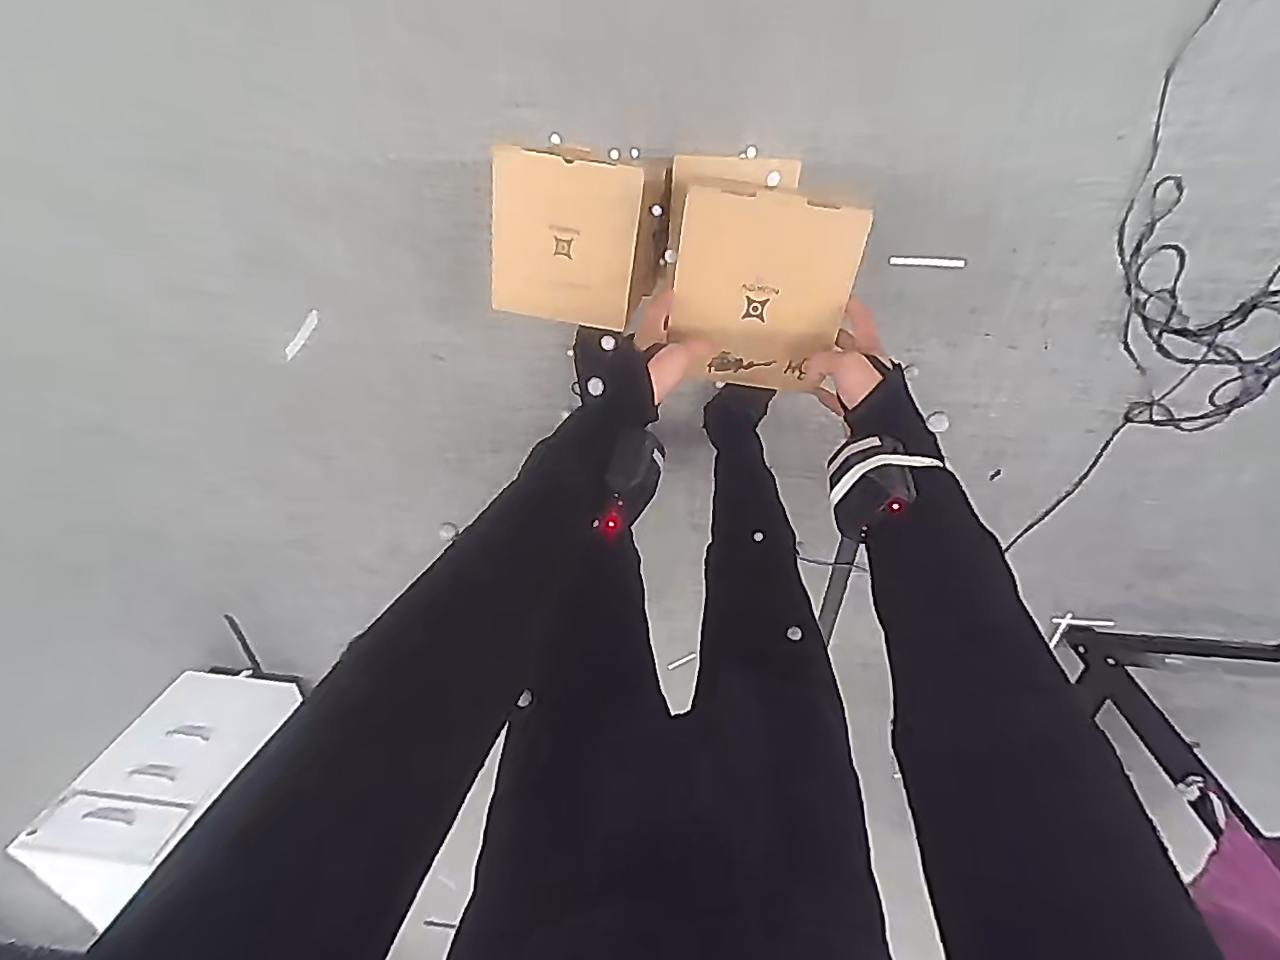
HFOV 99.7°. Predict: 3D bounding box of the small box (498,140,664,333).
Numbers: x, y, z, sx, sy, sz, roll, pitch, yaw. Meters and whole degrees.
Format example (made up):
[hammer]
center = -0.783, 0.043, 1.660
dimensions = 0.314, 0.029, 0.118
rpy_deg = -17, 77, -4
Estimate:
[small box]
center = -0.067, -0.305, 0.673
dimensions = 0.168, 0.176, 0.179
rpy_deg = 12, 121, 2
